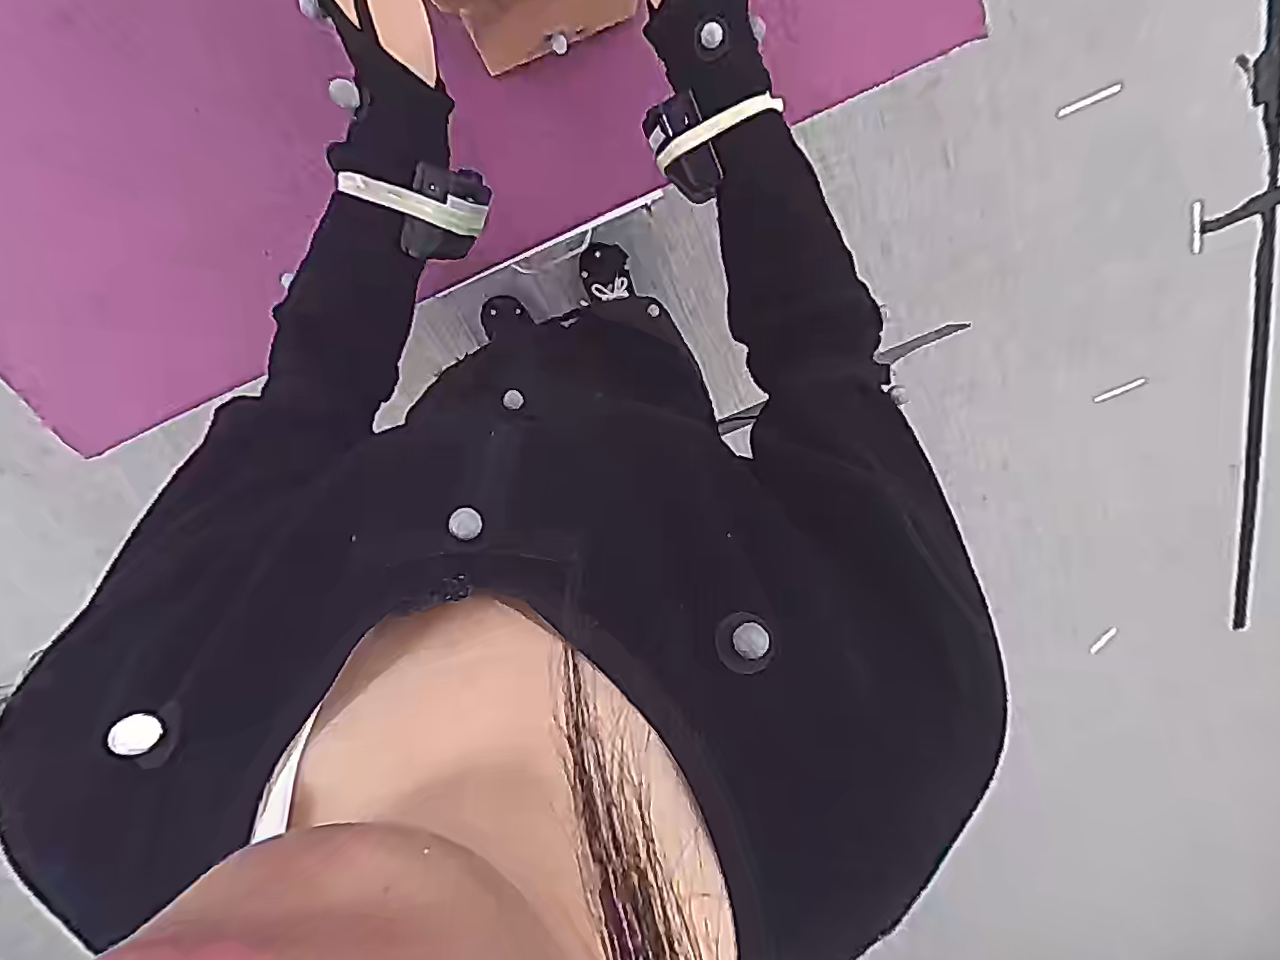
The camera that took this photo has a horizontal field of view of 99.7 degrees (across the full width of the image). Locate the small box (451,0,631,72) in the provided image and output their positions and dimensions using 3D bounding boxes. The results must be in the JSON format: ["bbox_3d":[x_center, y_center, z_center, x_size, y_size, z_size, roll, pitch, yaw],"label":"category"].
[{"bbox_3d":[-0.107,-0.502,0.468,0.168,0.176,0.179,-20,115,3],"label":"small box"}]
